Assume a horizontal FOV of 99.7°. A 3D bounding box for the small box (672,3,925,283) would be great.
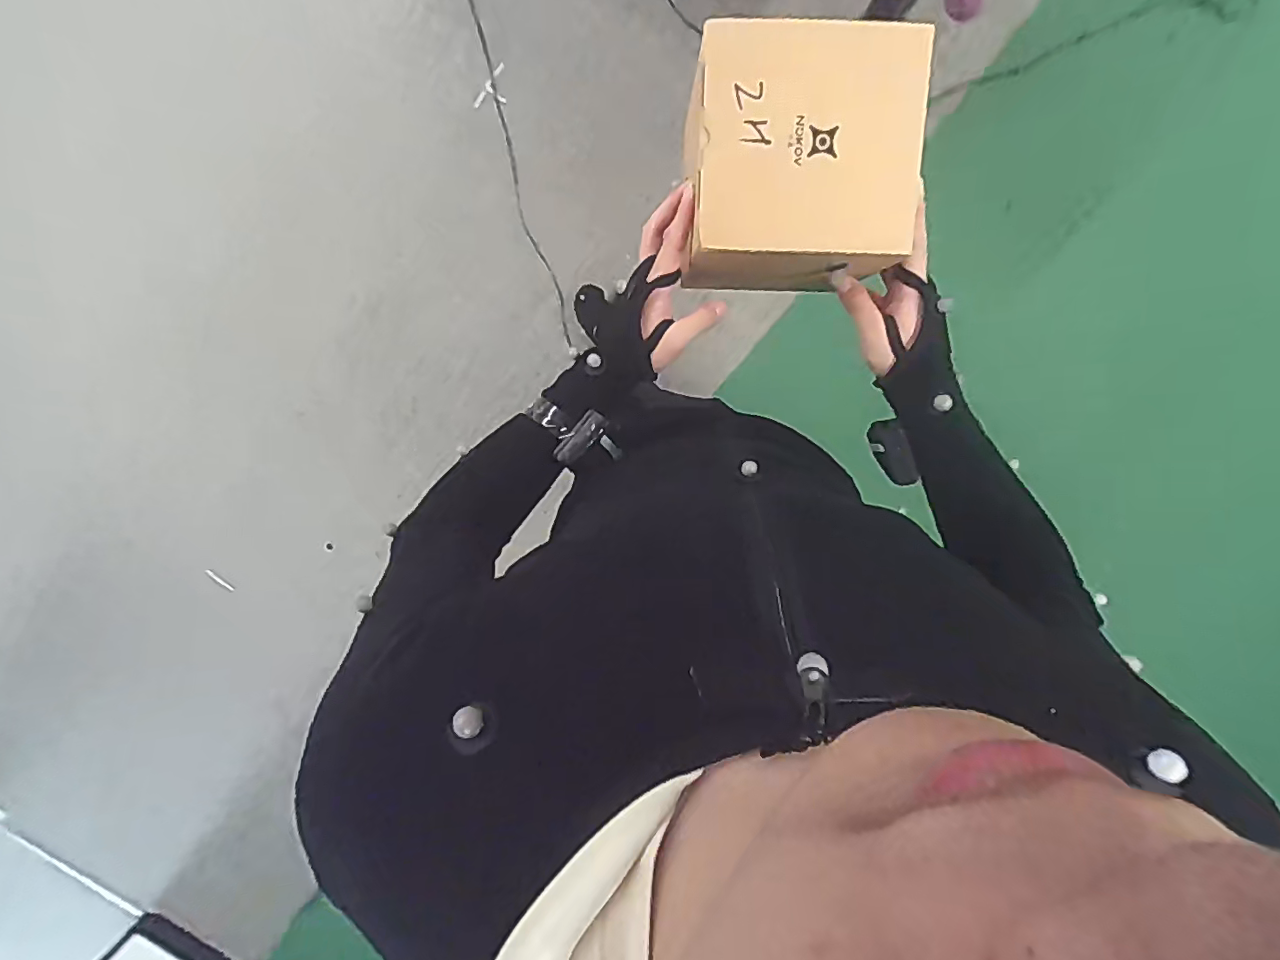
[{"bbox_3d":[0.124,-0.283,0.492,0.179,0.176,0.168,1,99,1],"label":"small box"}]
